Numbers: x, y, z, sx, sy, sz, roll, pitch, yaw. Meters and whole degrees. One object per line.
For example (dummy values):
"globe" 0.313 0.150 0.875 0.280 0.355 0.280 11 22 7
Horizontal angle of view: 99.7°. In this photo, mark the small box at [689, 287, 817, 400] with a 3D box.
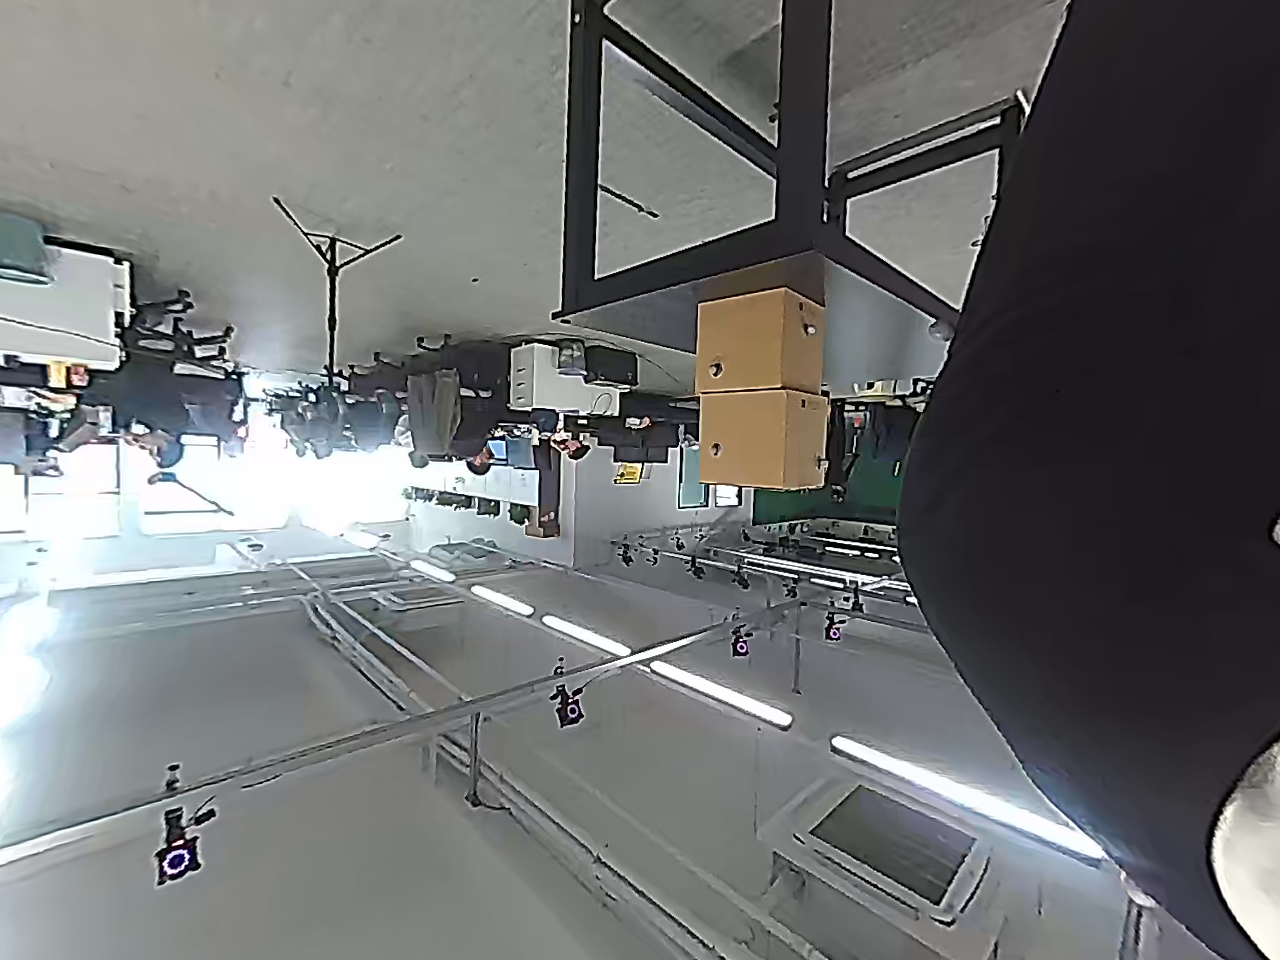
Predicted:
"small box" 0.210 -0.240 0.990 0.179 0.176 0.168 5 -175 41
